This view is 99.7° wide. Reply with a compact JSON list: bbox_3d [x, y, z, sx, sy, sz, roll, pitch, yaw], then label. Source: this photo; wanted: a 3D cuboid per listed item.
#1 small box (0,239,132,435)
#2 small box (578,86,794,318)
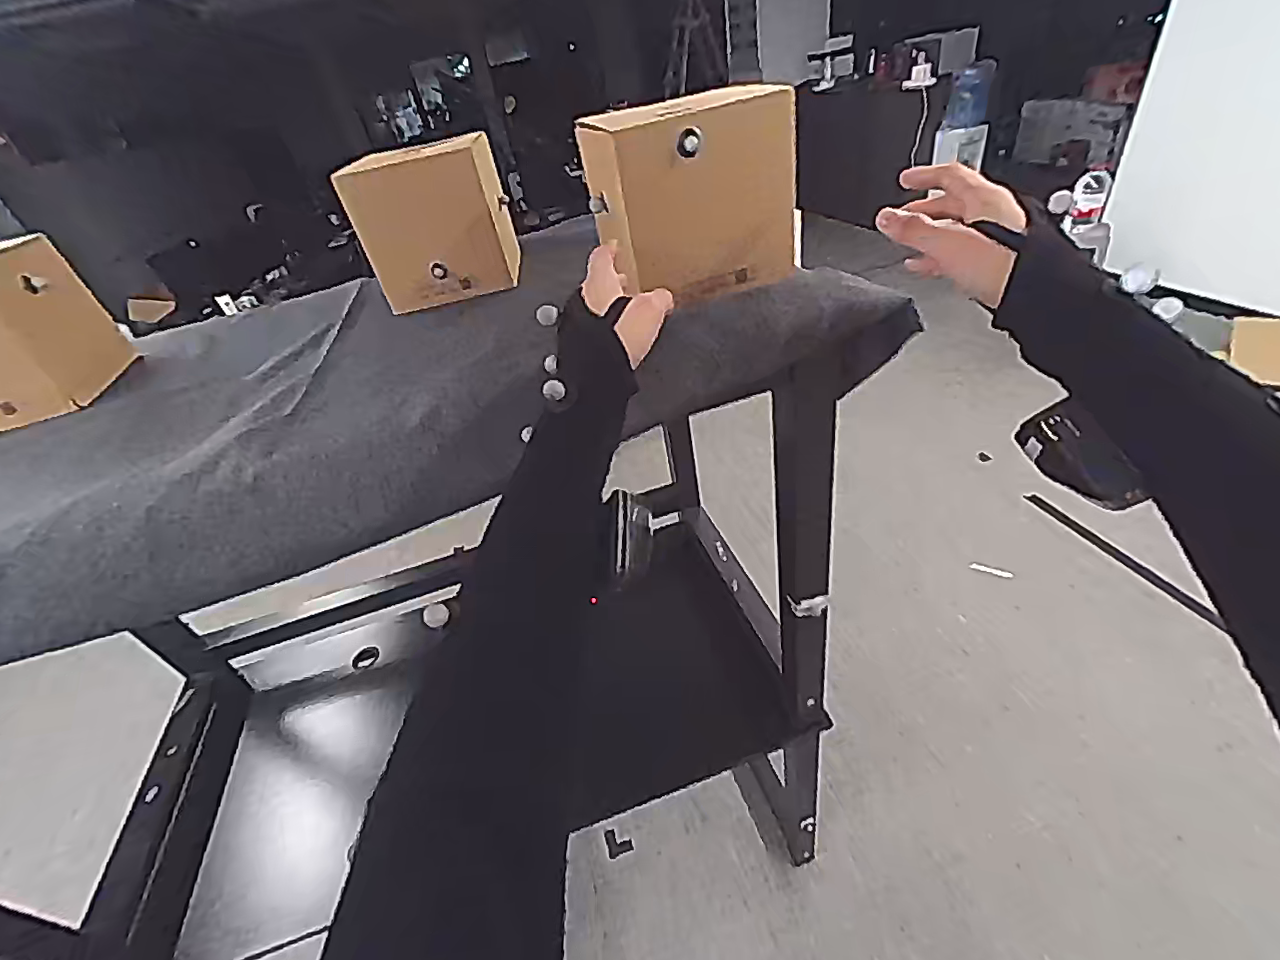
[{"bbox_3d":[-0.765,-0.162,0.636,0.168,0.176,0.179,-19,39,-9],"label":"small box"},{"bbox_3d":[0.045,-0.286,0.561,0.168,0.176,0.179,-18,37,-6],"label":"small box"}]
